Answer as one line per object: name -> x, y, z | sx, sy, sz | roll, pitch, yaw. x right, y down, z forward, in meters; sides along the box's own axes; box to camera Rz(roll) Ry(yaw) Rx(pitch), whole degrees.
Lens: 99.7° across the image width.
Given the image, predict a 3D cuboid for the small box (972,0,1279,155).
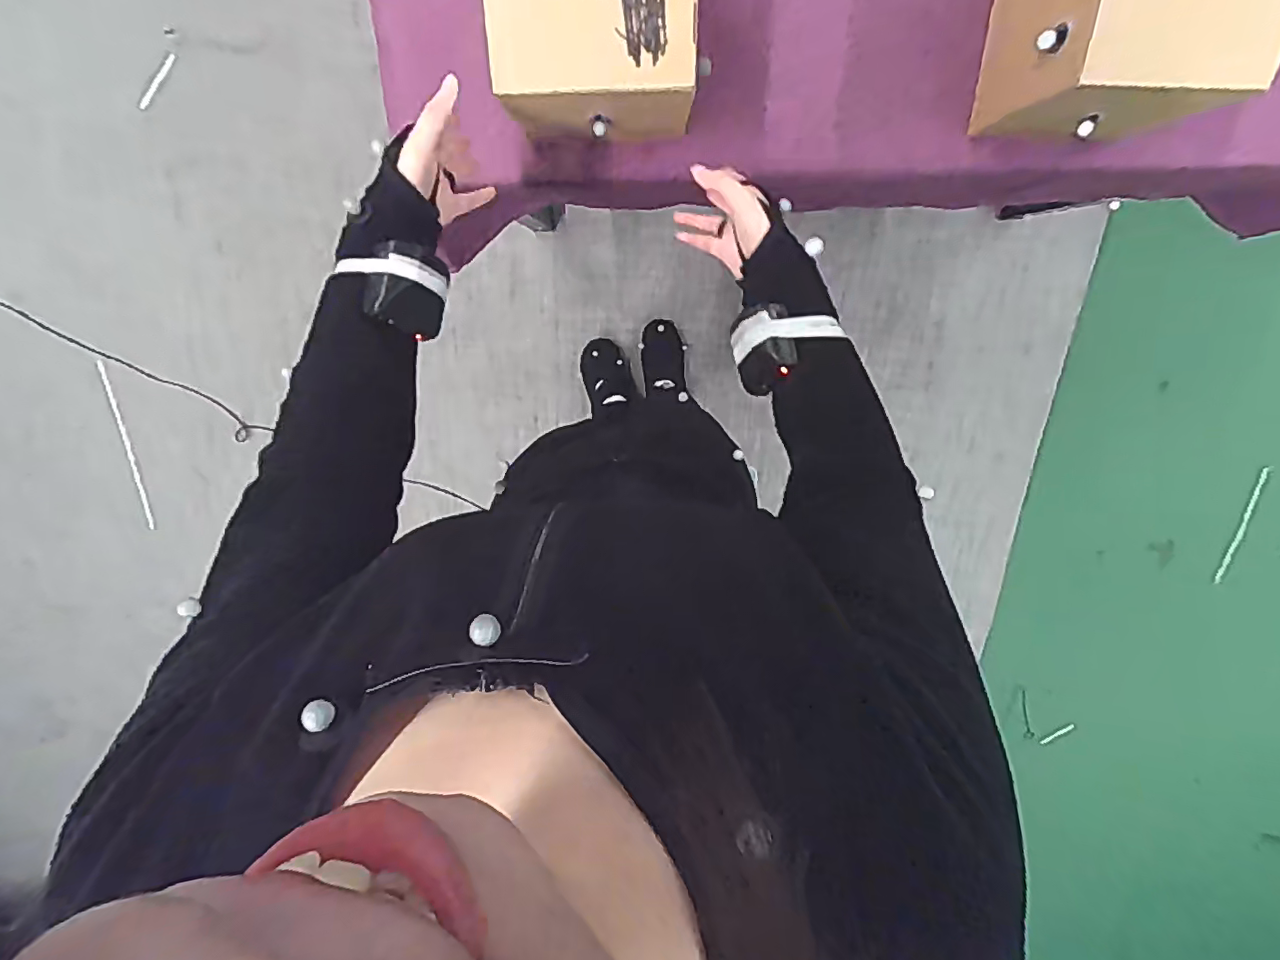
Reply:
small box -> 0.456, -0.428, 0.517 | 0.168, 0.176, 0.179 | 2, 109, -1
